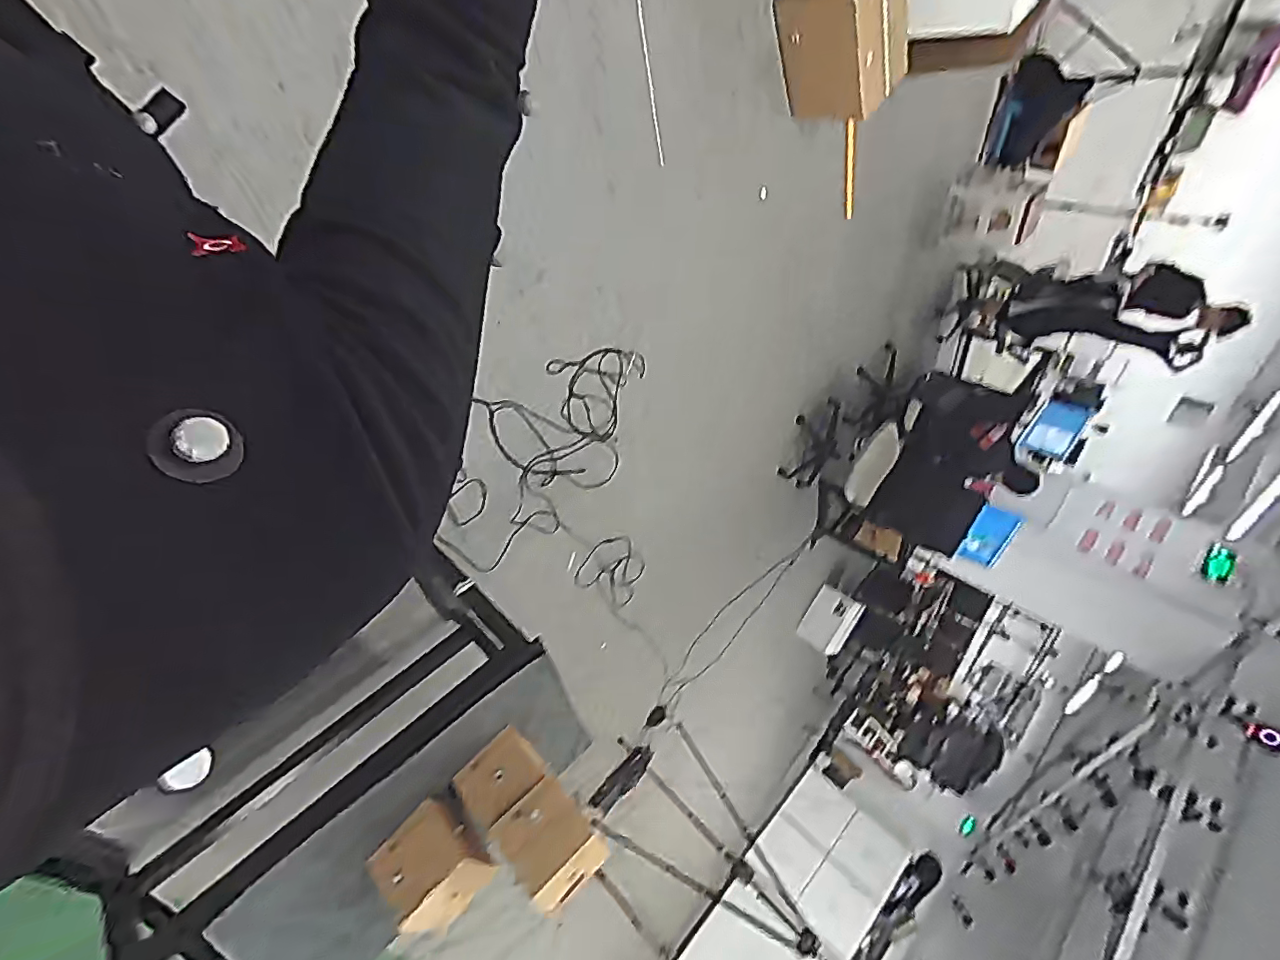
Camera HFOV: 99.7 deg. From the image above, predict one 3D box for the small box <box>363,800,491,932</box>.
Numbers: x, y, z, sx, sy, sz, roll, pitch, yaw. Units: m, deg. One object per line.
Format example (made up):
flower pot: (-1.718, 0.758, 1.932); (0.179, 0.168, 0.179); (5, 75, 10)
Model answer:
small box: (-0.470, 0.844, 1.190); (0.168, 0.176, 0.179); (-43, 142, -18)

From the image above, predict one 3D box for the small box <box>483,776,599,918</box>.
small box: (-0.211, 0.785, 1.168); (0.168, 0.176, 0.179); (-34, 137, -28)
